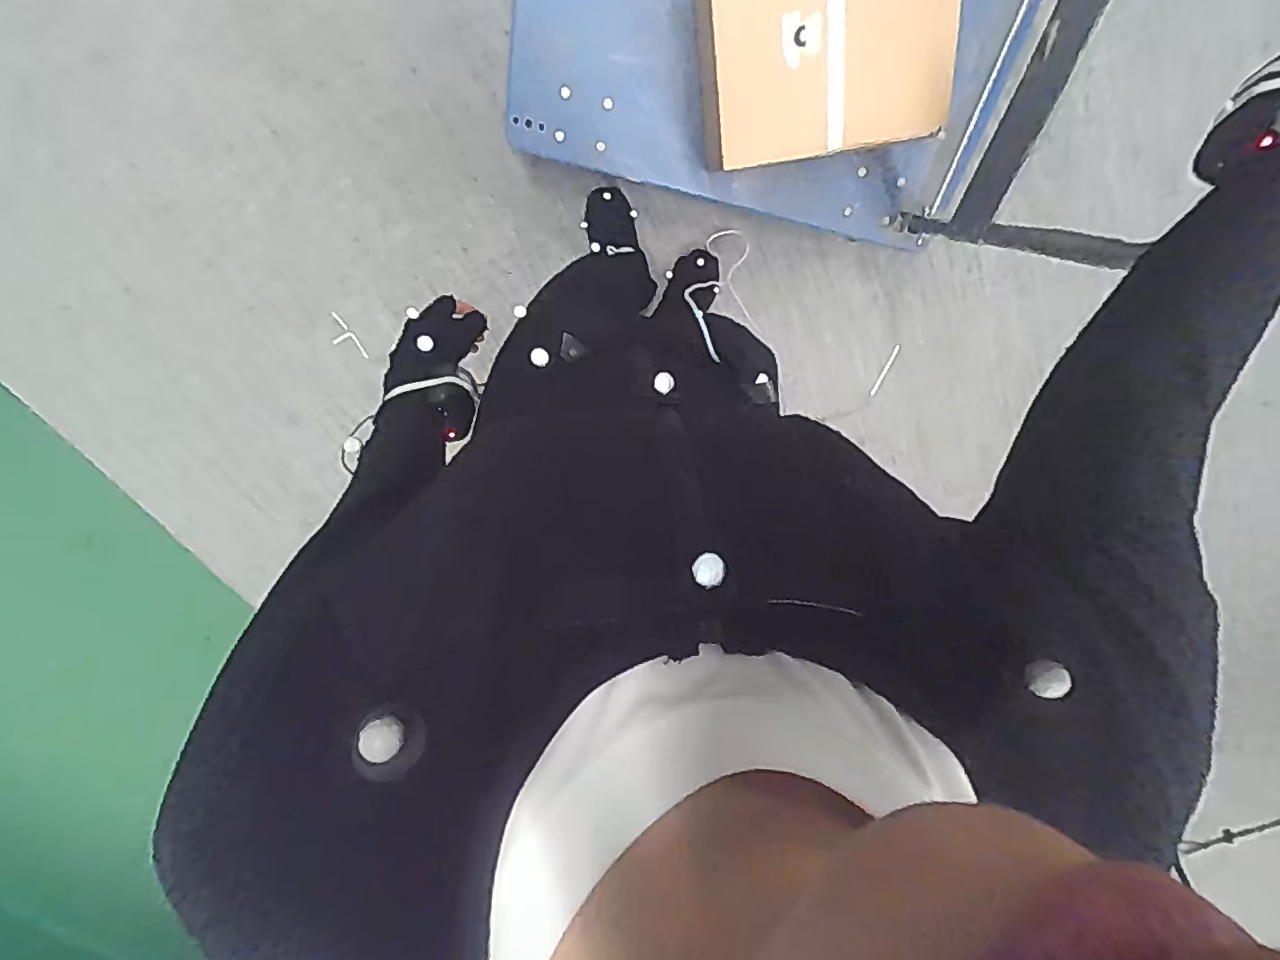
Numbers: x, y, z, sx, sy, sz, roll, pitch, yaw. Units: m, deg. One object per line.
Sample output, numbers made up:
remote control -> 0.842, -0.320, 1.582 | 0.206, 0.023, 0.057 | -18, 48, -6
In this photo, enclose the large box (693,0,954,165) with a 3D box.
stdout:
large box -> 0.245, -0.729, 0.806 | 0.320, 0.320, 0.408 | -7, 120, 7
